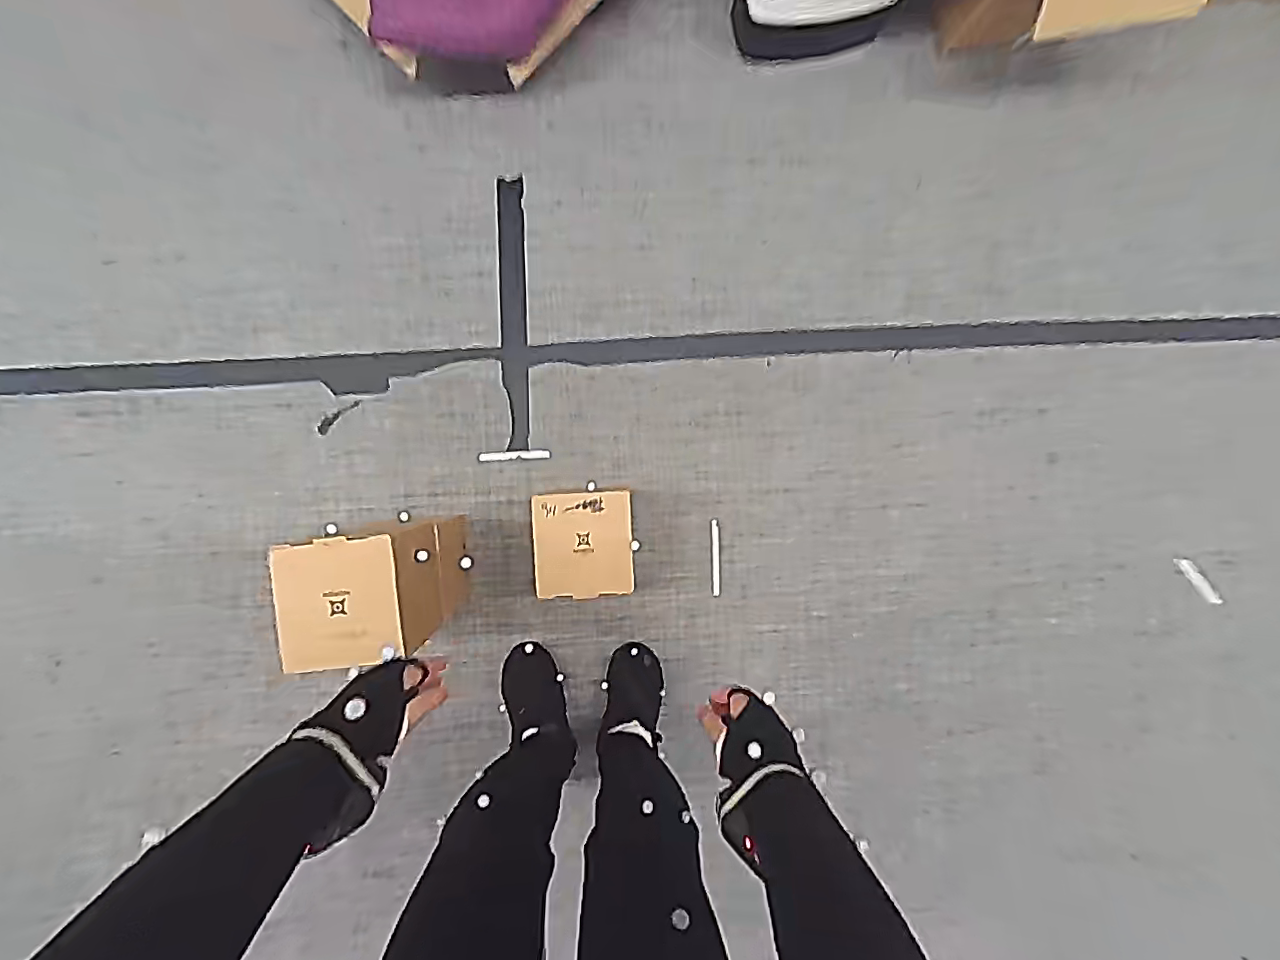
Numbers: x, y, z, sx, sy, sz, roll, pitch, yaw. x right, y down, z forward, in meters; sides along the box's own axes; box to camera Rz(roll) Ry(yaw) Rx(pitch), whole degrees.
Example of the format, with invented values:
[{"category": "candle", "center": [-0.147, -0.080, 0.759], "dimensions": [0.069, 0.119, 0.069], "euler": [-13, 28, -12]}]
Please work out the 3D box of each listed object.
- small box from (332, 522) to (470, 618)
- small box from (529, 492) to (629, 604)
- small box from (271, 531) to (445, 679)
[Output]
[{"category": "small box", "center": [-0.420, 0.169, 0.972], "dimensions": [0.179, 0.176, 0.168], "euler": [-5, 91, -3]}, {"category": "small box", "center": [-0.104, 0.116, 0.988], "dimensions": [0.168, 0.176, 0.179], "euler": [-3, 92, -2]}, {"category": "small box", "center": [-0.408, 0.174, 0.810], "dimensions": [0.168, 0.176, 0.179], "euler": [-7, 93, -1]}]
